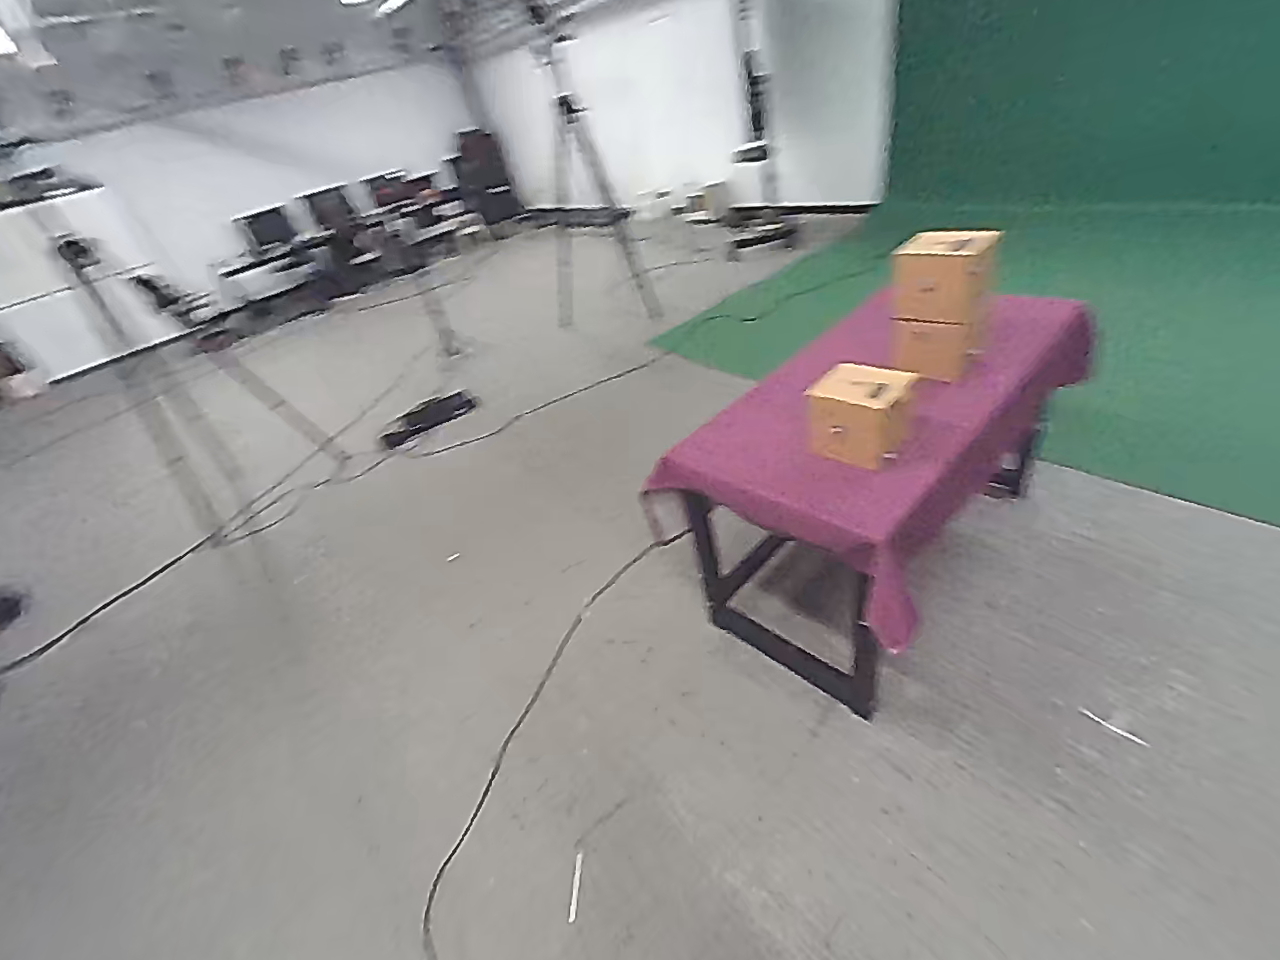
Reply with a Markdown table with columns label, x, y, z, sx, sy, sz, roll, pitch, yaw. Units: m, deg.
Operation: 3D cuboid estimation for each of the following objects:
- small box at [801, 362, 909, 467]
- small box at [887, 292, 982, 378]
| label | x | y | z | sx | sy | sz | roll | pitch | yaw |
| --- | --- | --- | --- | --- | --- | --- | --- | --- | --- |
| small box | 0.498 | -0.151 | 1.255 | 0.179 | 0.176 | 0.168 | 22 | 50 | 42 |
| small box | 0.790 | -0.394 | 1.466 | 0.168 | 0.176 | 0.179 | -37 | 41 | -26 |
